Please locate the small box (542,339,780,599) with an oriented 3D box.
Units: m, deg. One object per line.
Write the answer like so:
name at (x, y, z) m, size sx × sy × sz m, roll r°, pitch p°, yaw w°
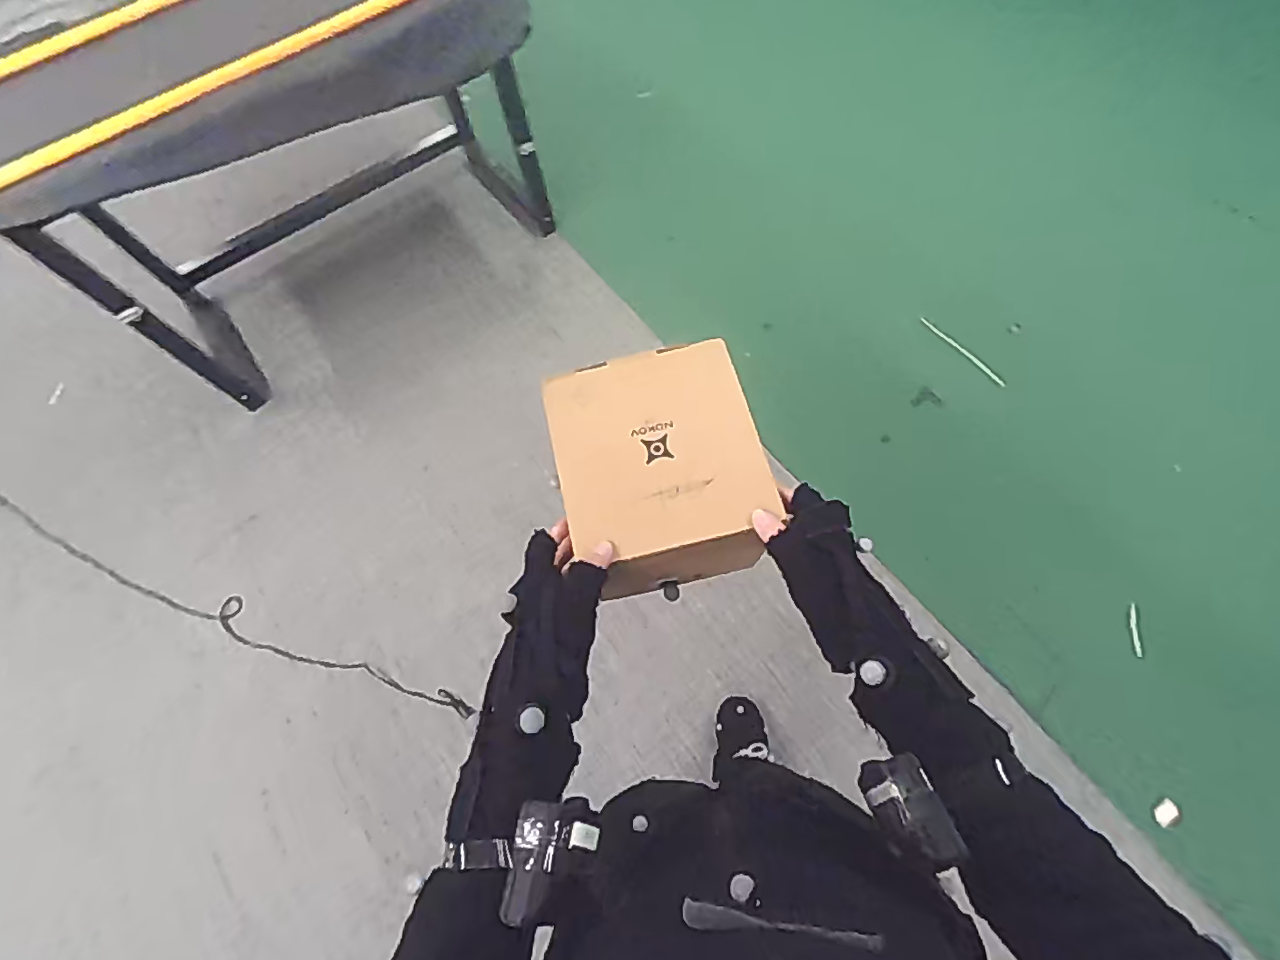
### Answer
small box at (0.014, 0.000, 0.517) m, size 0.168 × 0.176 × 0.179 m, roll -14°, pitch 69°, yaw -2°
